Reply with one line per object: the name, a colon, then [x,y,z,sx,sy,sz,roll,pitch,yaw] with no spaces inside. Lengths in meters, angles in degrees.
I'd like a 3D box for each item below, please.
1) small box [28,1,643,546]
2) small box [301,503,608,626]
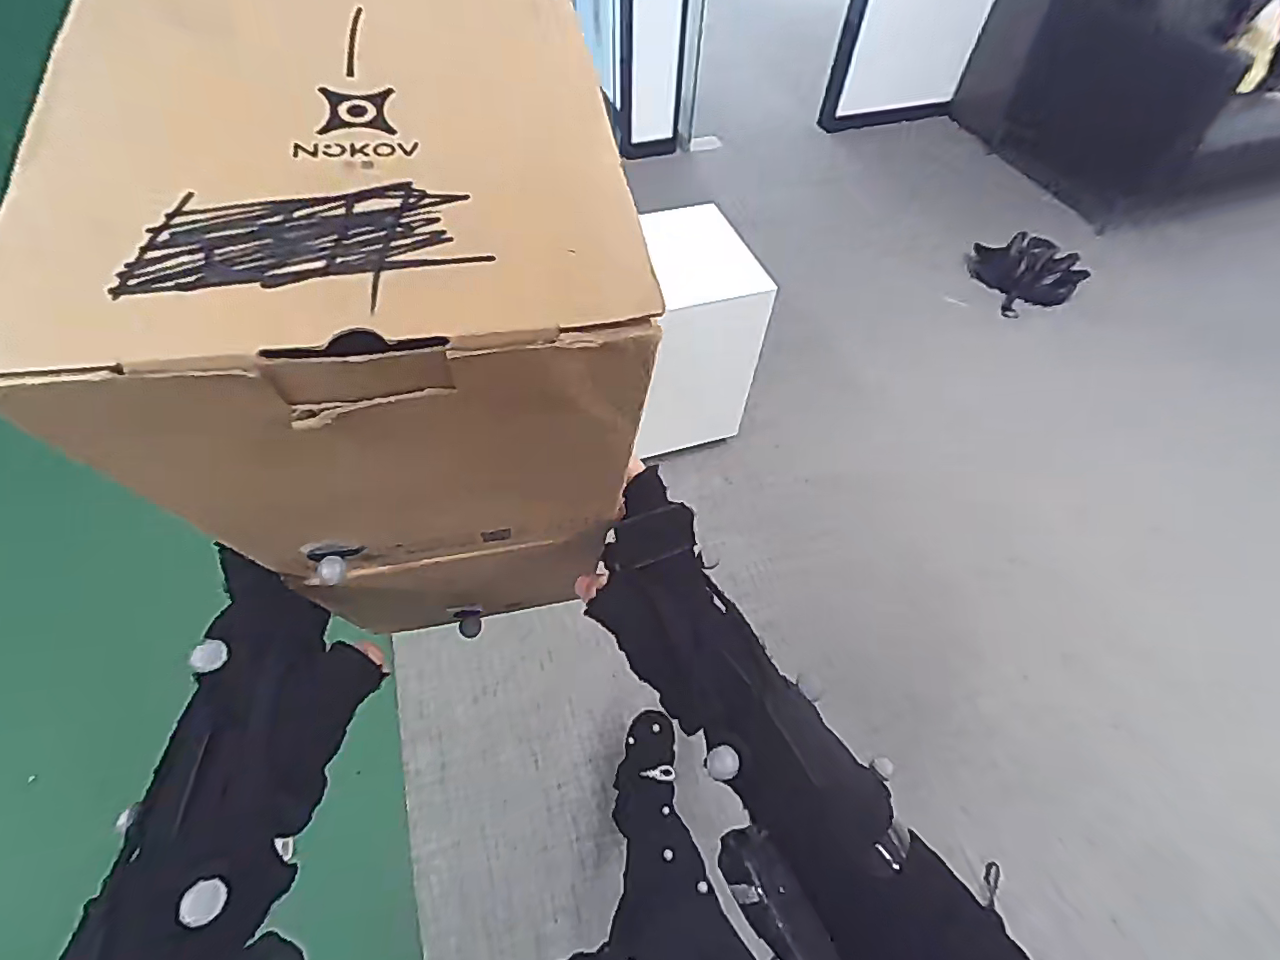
small box: [-0.101,-0.077,0.256,0.168,0.176,0.179,-7,65,-12]
small box: [-0.126,-0.005,0.402,0.168,0.176,0.179,-8,67,-12]
